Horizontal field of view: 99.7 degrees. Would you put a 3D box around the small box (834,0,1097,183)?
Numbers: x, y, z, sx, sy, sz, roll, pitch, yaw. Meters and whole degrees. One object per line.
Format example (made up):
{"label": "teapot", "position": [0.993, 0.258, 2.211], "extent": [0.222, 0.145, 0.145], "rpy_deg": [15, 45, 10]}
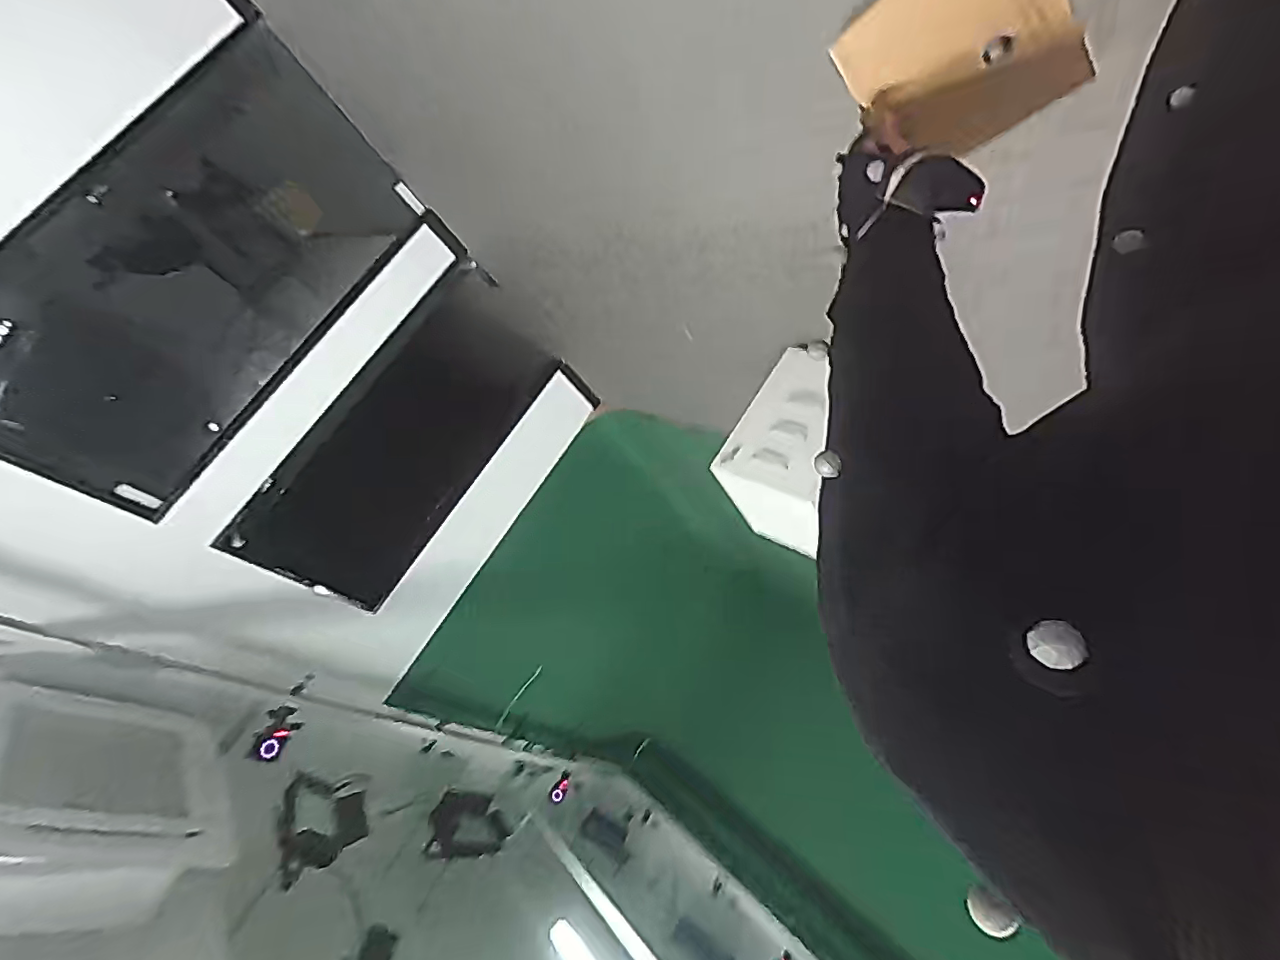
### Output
{"label": "small box", "position": [0.319, -0.448, 0.535], "extent": [0.168, 0.179, 0.176], "rpy_deg": [43, 140, -24]}
